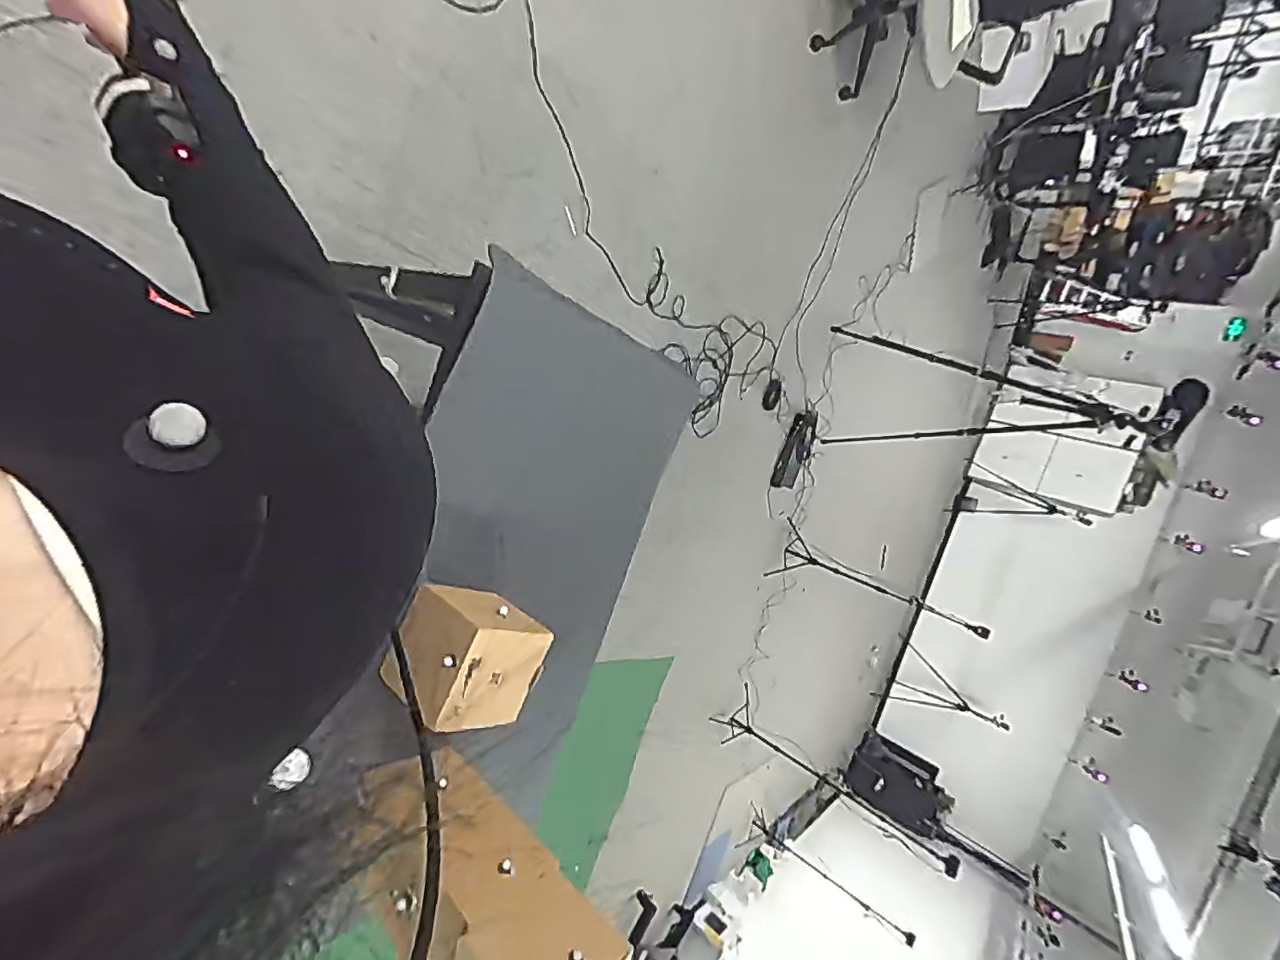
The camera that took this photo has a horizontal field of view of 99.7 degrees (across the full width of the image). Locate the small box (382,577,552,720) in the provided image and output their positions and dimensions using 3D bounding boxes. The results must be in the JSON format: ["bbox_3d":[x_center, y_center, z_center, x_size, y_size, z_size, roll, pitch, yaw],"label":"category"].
[{"bbox_3d":[-0.289,0.276,0.910,0.179,0.176,0.168,29,84,-55],"label":"small box"}]

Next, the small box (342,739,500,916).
[{"bbox_3d":[-0.384,0.589,0.945,0.179,0.176,0.168,14,96,-56],"label":"small box"}]

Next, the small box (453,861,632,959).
[{"bbox_3d":[-0.142,0.684,0.745,0.179,0.176,0.168,3,103,-54],"label":"small box"}]

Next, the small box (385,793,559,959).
[{"bbox_3d":[-0.263,0.636,0.848,0.179,0.176,0.168,8,99,-53],"label":"small box"}]
